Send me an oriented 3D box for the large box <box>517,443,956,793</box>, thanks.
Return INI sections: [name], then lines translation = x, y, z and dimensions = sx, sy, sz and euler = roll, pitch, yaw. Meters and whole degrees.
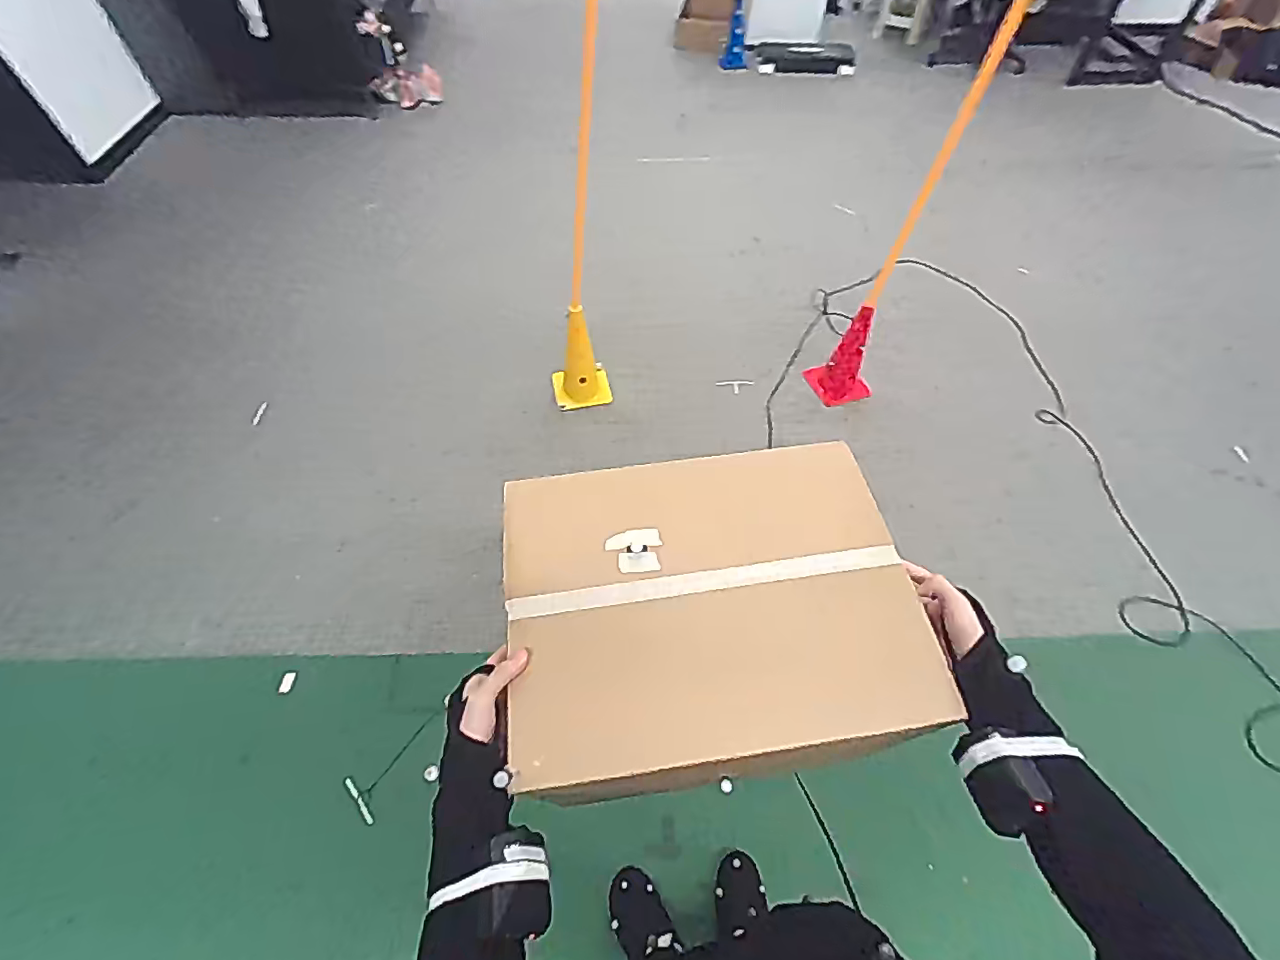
[large box]
translation = 0.080, 0.188, 0.686
dimensions = 0.408, 0.320, 0.320
euler = -7, 57, -3
